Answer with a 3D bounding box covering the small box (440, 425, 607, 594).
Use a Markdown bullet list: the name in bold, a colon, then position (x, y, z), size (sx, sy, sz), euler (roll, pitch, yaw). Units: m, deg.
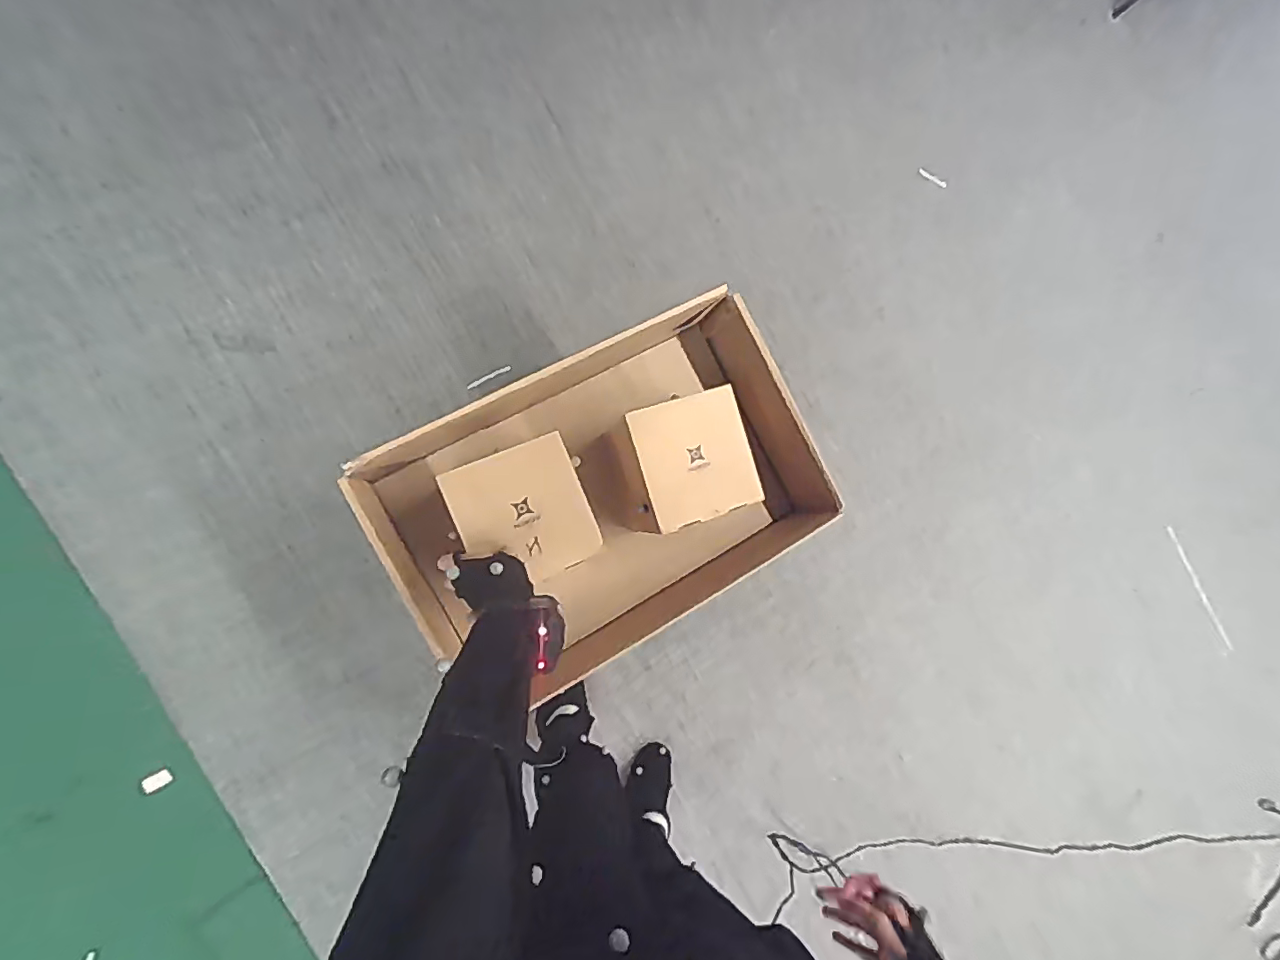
- **small box**: position (-0.165, 0.040, 0.764), size (0.168, 0.176, 0.179), euler (-22, 92, -13)
